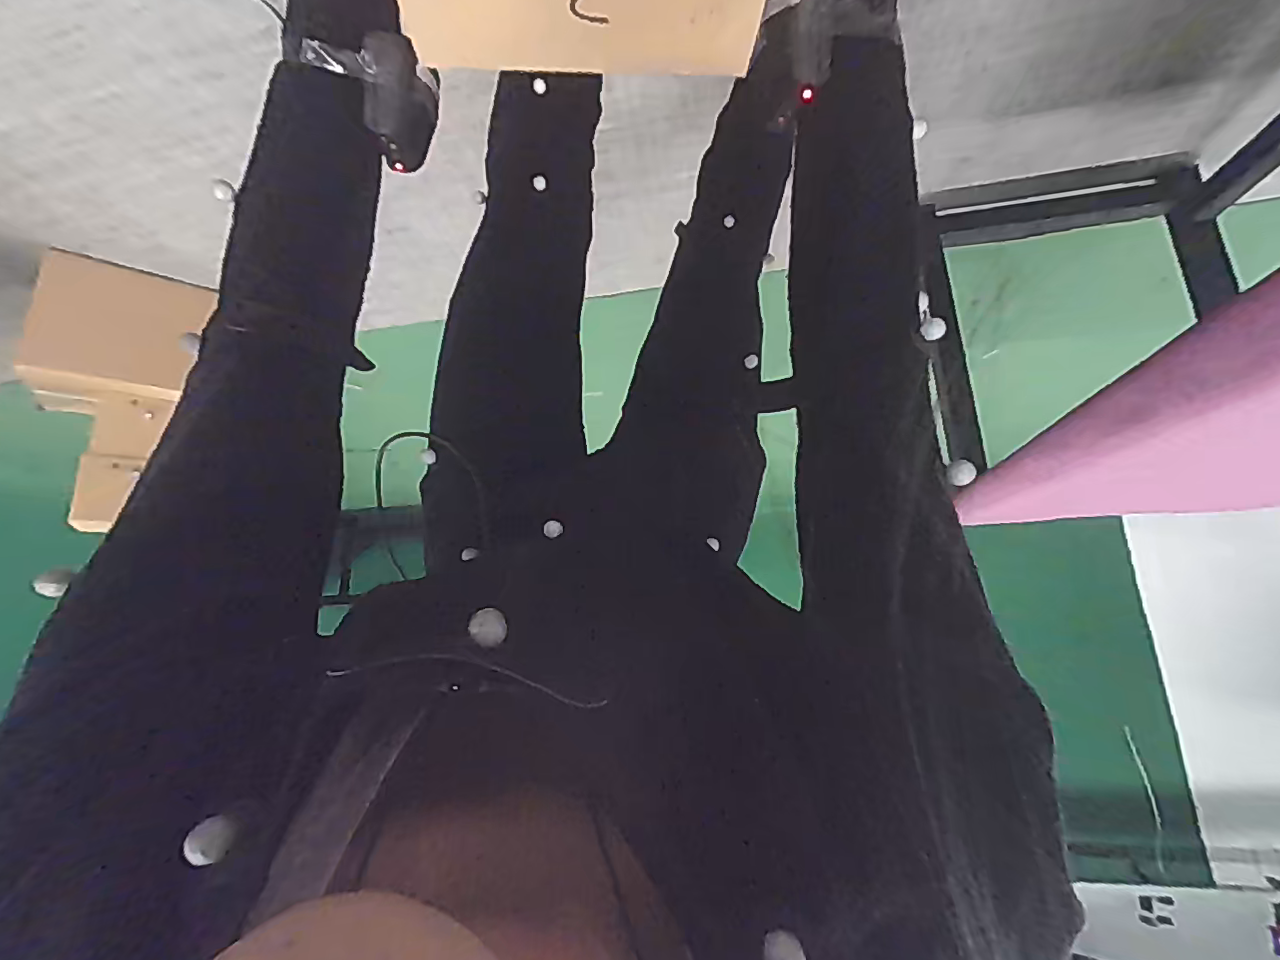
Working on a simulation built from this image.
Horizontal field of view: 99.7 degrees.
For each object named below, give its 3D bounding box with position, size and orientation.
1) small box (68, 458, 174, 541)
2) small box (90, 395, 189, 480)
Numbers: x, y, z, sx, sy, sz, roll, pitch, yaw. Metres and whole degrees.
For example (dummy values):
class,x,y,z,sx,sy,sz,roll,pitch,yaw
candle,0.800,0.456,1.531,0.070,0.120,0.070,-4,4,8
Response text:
class,x,y,z,sx,sy,sz,roll,pitch,yaw
small box,-1.294,0.053,1.361,0.168,0.176,0.179,9,161,-38
small box,-1.301,-0.102,1.410,0.168,0.176,0.179,11,160,-41
